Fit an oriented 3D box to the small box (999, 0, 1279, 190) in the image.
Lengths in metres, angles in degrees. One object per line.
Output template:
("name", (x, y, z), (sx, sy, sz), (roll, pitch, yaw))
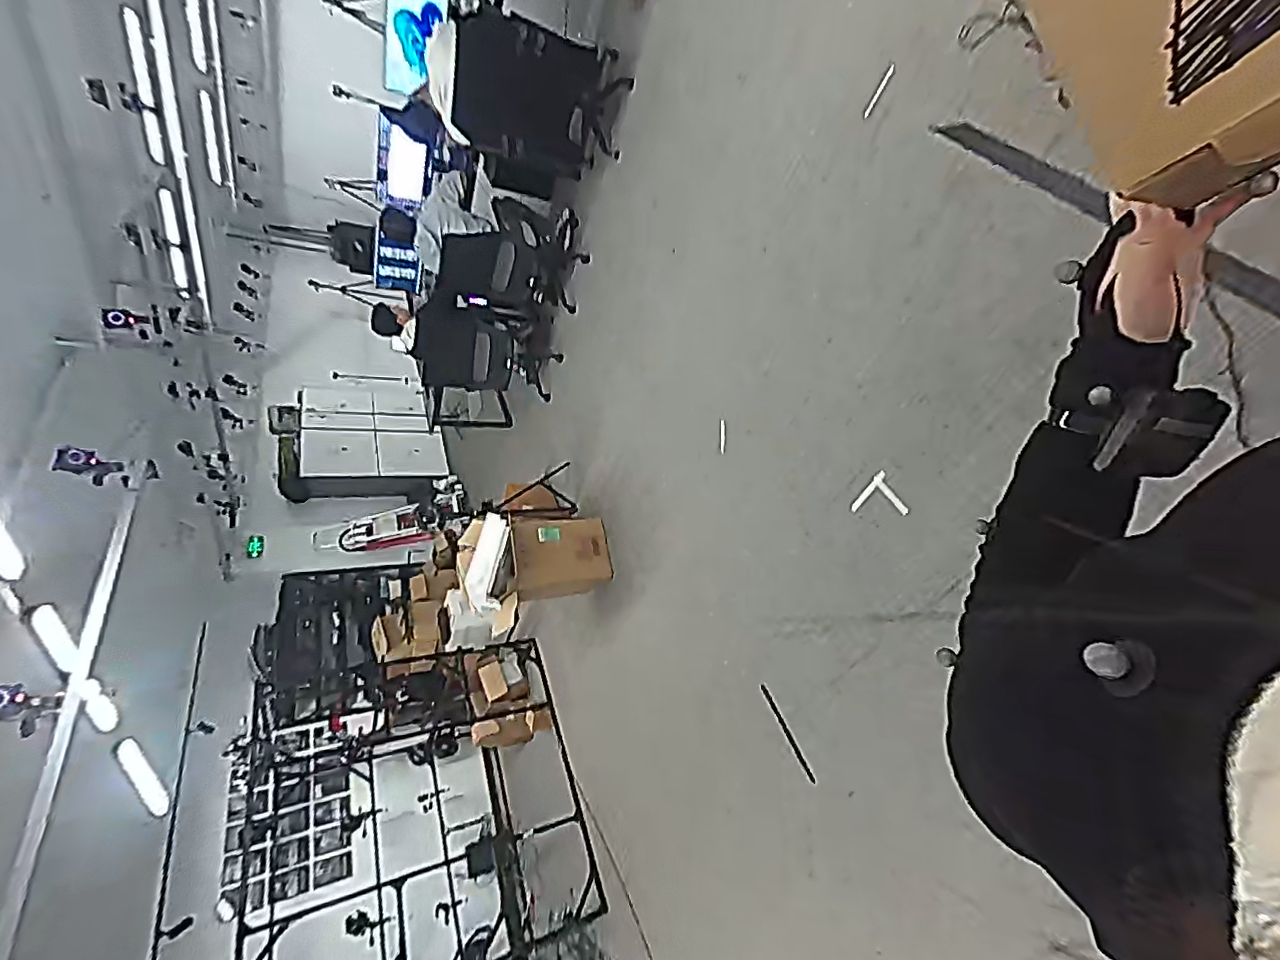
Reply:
("small box", (0.274, -0.252, 0.227), (0.168, 0.176, 0.179), (-27, 82, 54))
